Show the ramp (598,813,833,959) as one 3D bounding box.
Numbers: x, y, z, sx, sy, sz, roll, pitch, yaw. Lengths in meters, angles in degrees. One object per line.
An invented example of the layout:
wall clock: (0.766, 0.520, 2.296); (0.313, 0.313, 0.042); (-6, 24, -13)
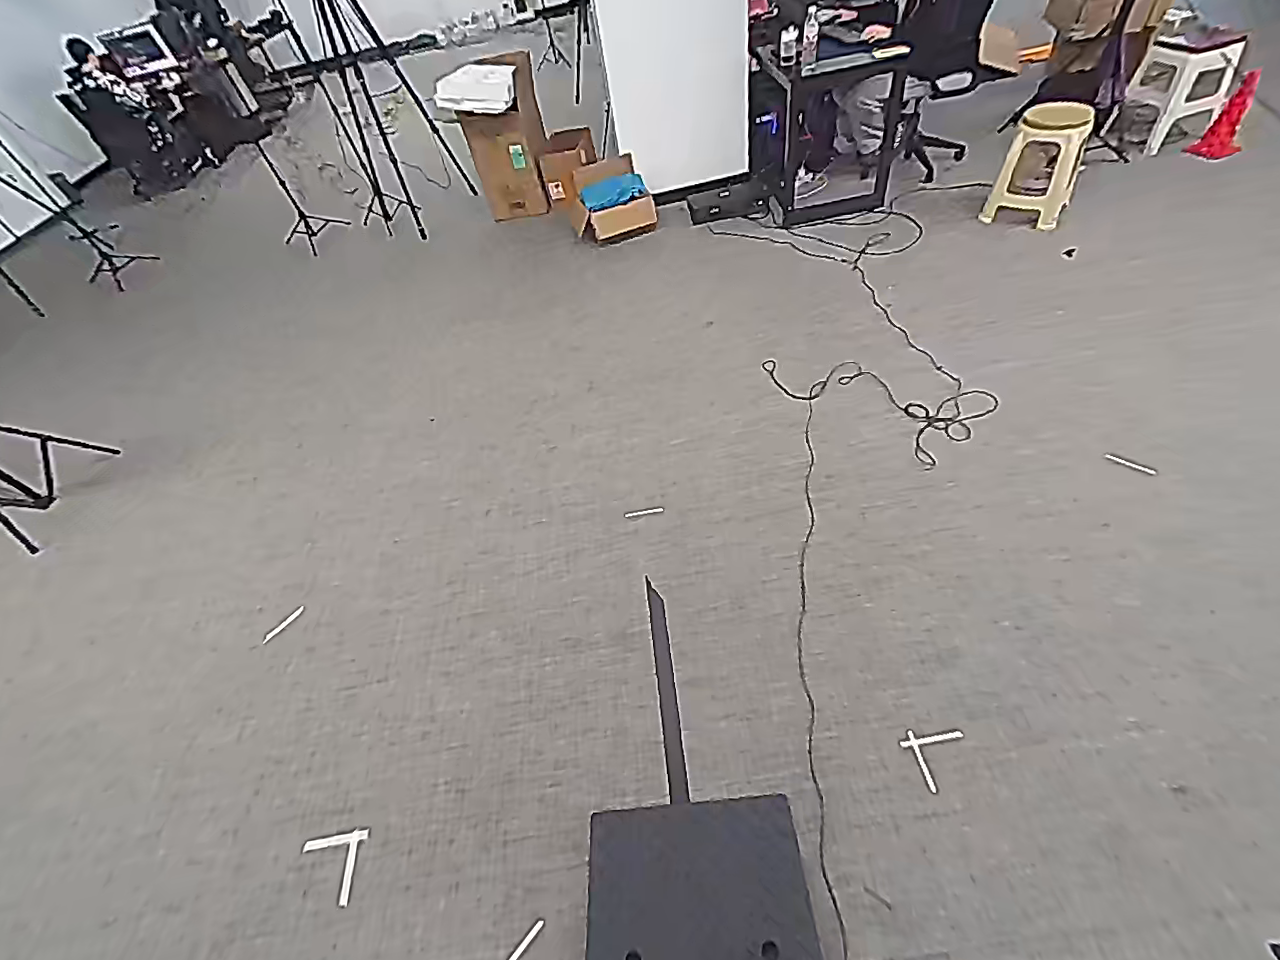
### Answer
ramp: (0.159, 1.145, 0.929); (0.509, 0.206, 0.991); (-12, 46, 4)
